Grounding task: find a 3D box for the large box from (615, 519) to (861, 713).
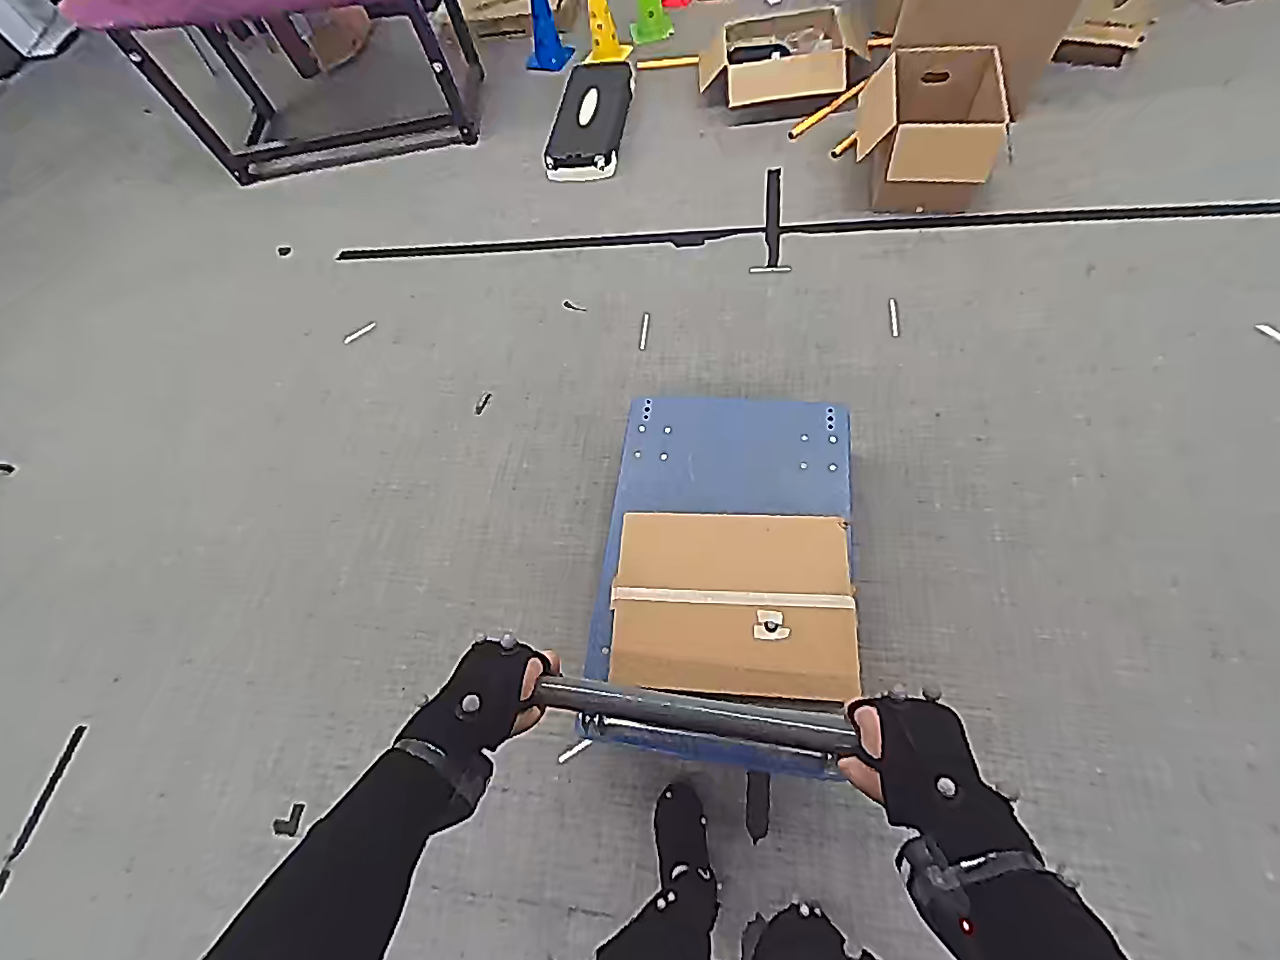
[{"bbox_3d":[0.178,0.278,1.072,0.408,0.320,0.320,1,65,8],"label":"large box"}]
